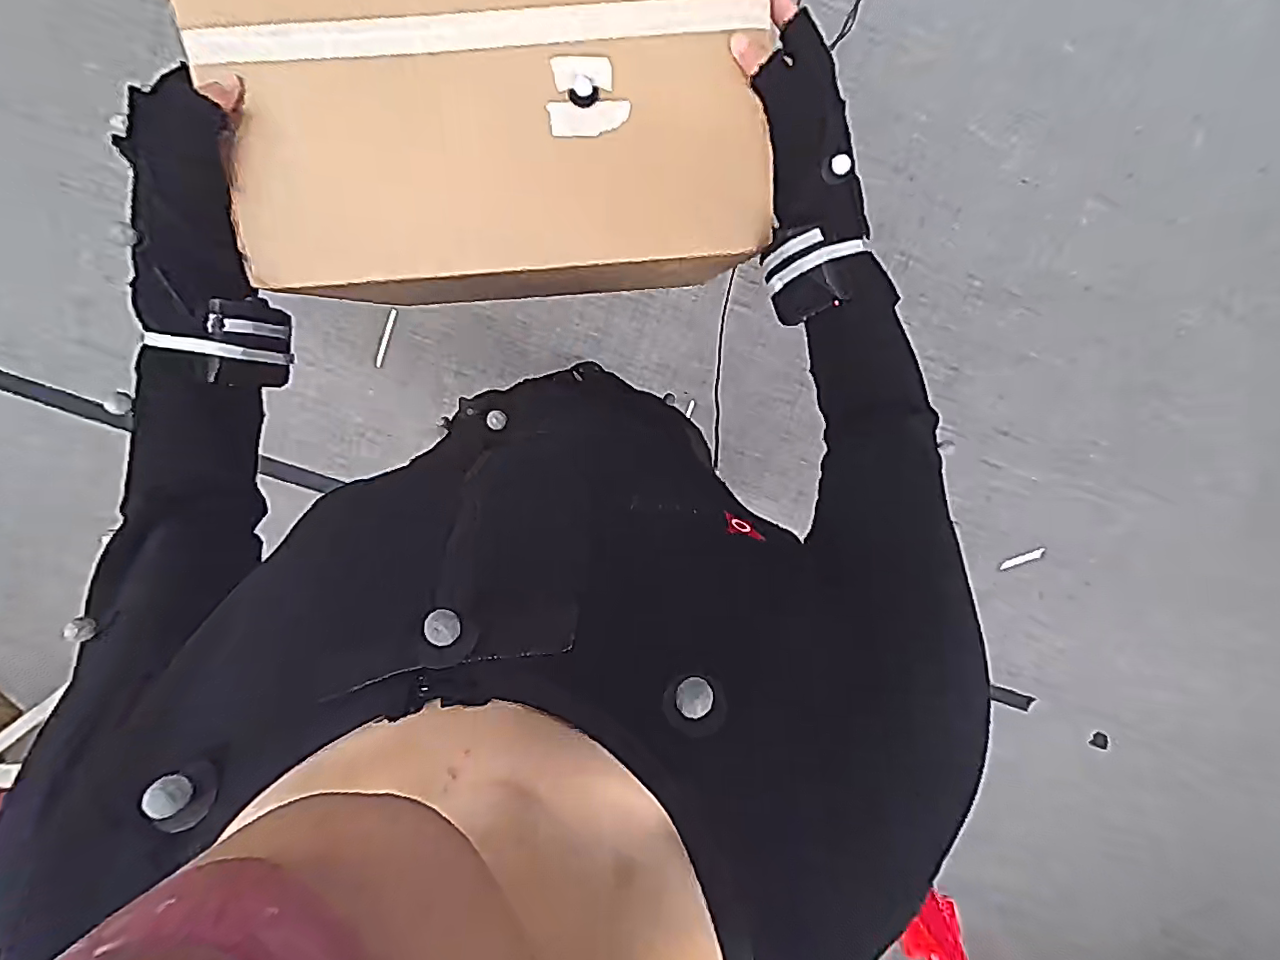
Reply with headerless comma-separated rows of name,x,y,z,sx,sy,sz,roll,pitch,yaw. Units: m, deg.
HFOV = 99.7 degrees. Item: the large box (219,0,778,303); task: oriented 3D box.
large box,-0.108,-0.362,0.539,0.408,0.320,0.320,-5,105,-3
